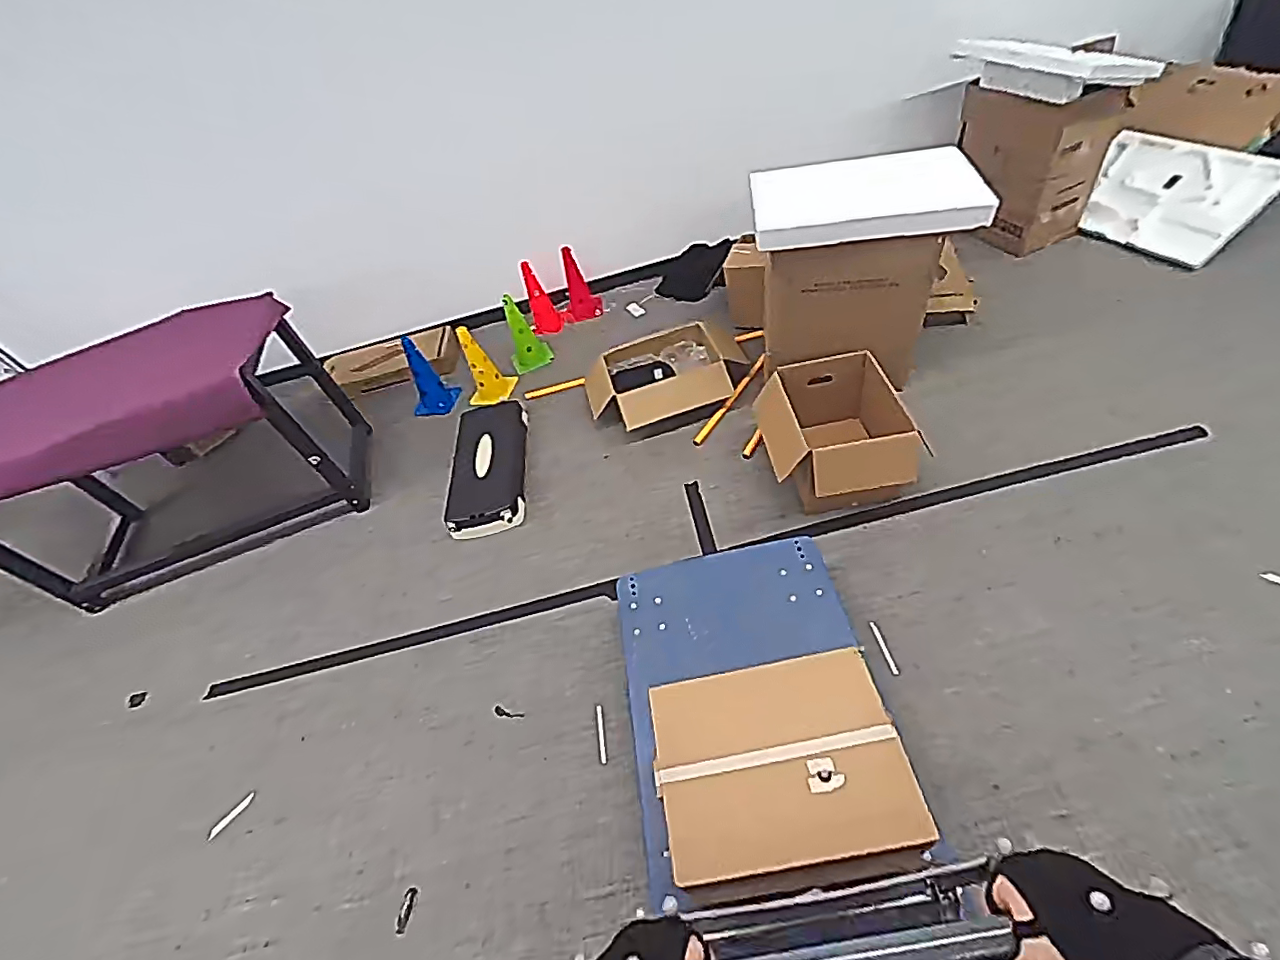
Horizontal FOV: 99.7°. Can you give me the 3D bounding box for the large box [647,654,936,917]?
[{"bbox_3d":[0.251,0.574,1.009,0.408,0.320,0.320,-13,47,2],"label":"large box"}]
